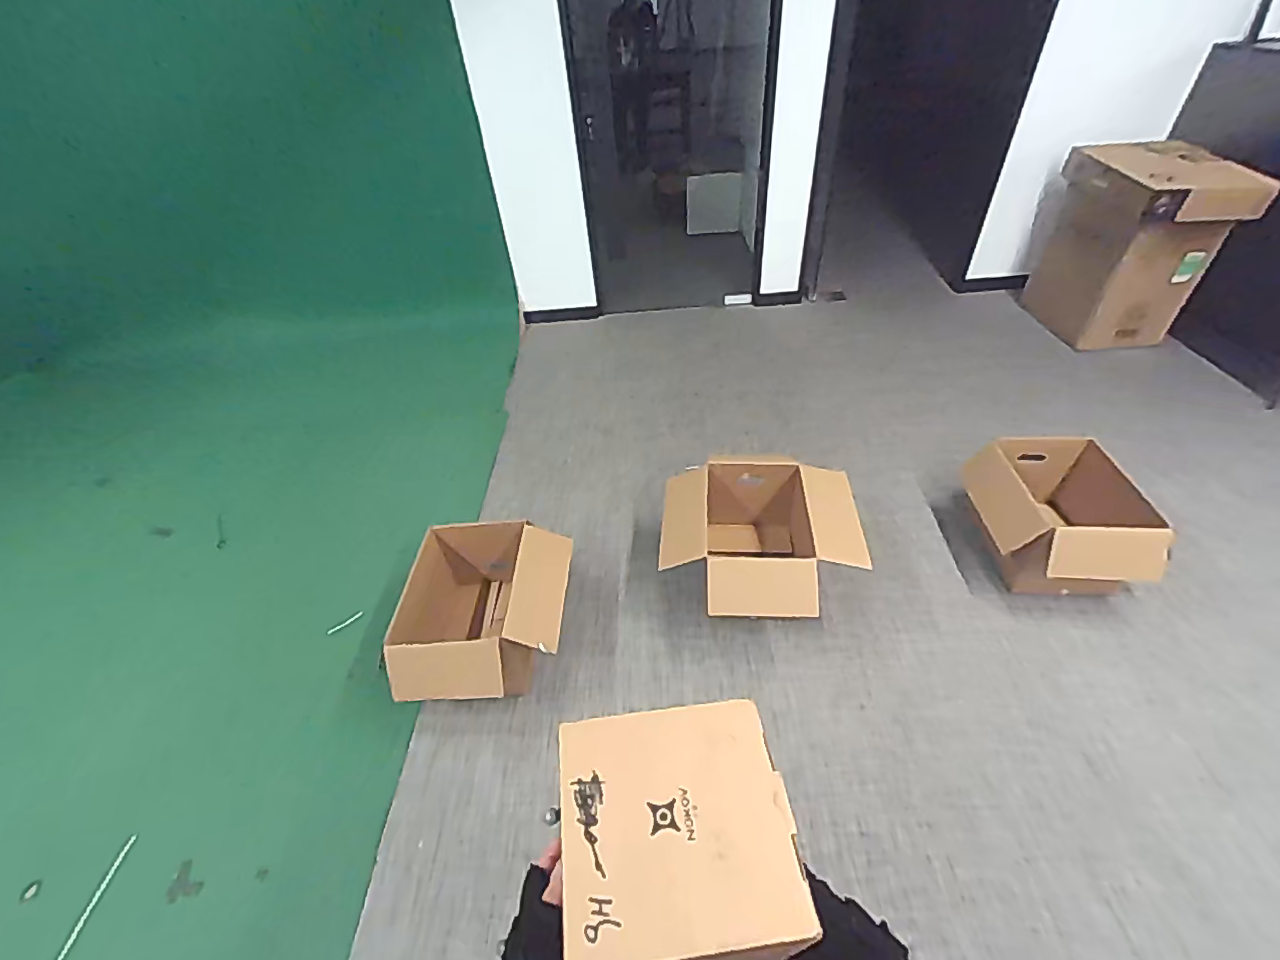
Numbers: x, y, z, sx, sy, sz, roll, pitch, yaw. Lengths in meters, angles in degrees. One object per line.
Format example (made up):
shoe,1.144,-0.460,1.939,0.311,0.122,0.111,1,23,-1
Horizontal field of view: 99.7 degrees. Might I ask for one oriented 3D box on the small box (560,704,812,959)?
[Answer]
small box,0.023,0.318,0.473,0.179,0.176,0.168,-3,43,-6
